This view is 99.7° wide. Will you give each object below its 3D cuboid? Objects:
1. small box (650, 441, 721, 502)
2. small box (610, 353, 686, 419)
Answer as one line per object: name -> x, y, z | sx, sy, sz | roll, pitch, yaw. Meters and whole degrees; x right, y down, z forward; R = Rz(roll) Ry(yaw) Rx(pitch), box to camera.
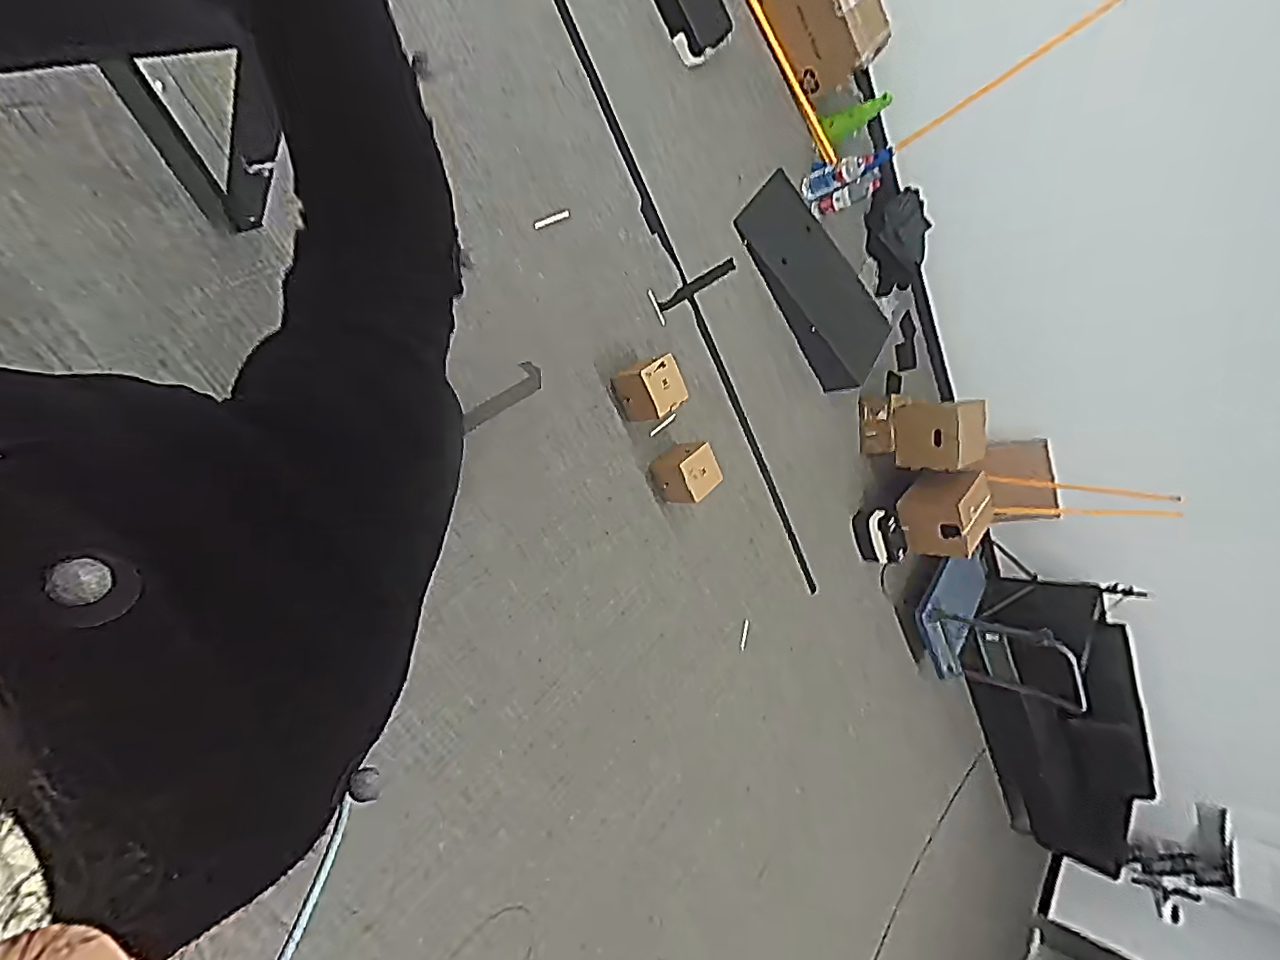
small box -> 0.170, -0.031, 2.028 | 0.179, 0.176, 0.168 | -39, 113, -33
small box -> 0.028, -0.327, 1.910 | 0.168, 0.176, 0.179 | -39, 115, -33
